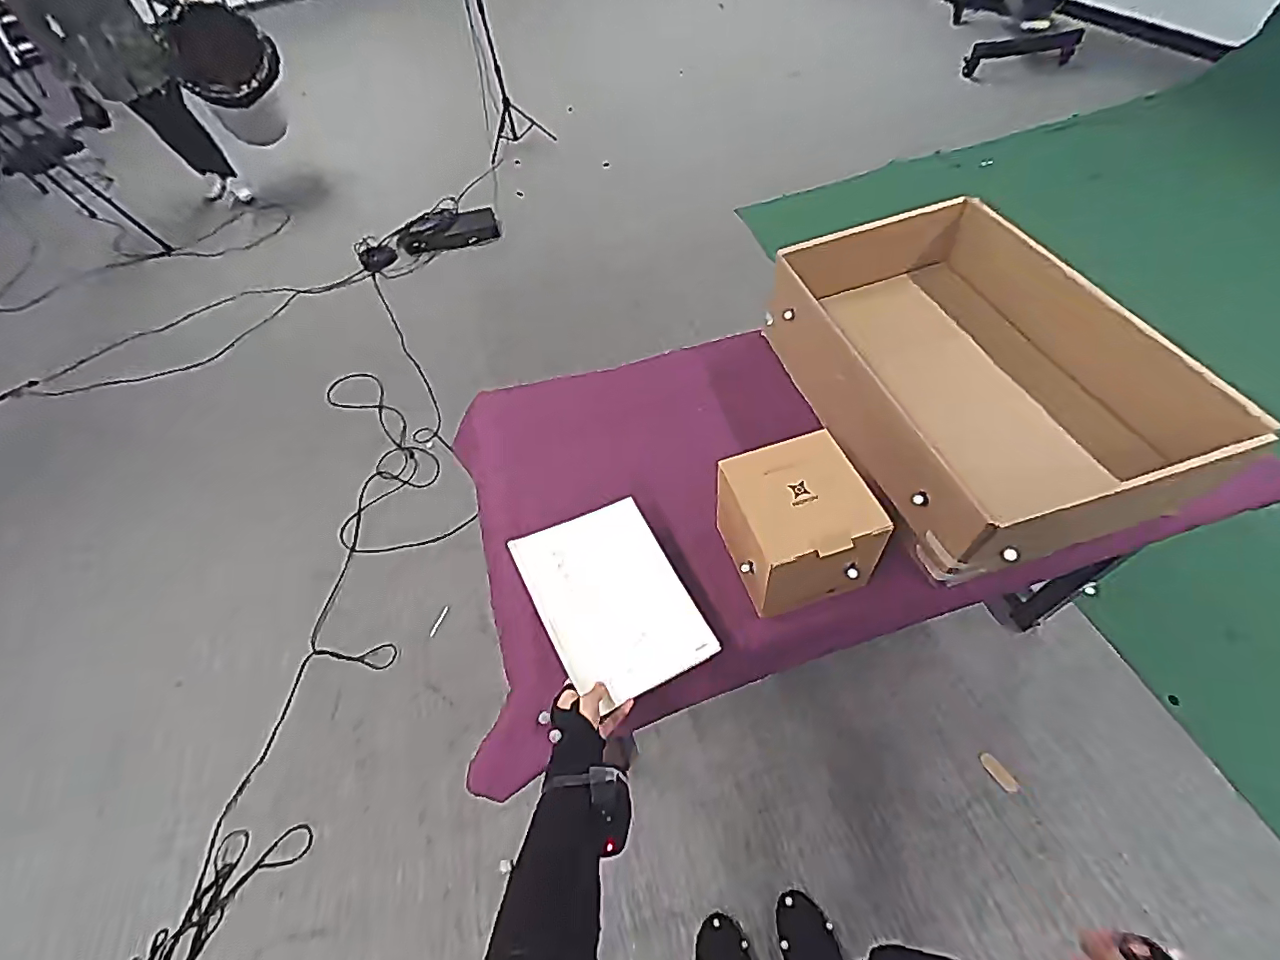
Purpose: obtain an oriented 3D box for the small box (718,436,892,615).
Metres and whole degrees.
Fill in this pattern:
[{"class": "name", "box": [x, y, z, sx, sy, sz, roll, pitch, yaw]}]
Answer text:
[{"class": "small box", "box": [0.218, 0.073, 0.764, 0.168, 0.176, 0.179, -16, 52, -5]}]
